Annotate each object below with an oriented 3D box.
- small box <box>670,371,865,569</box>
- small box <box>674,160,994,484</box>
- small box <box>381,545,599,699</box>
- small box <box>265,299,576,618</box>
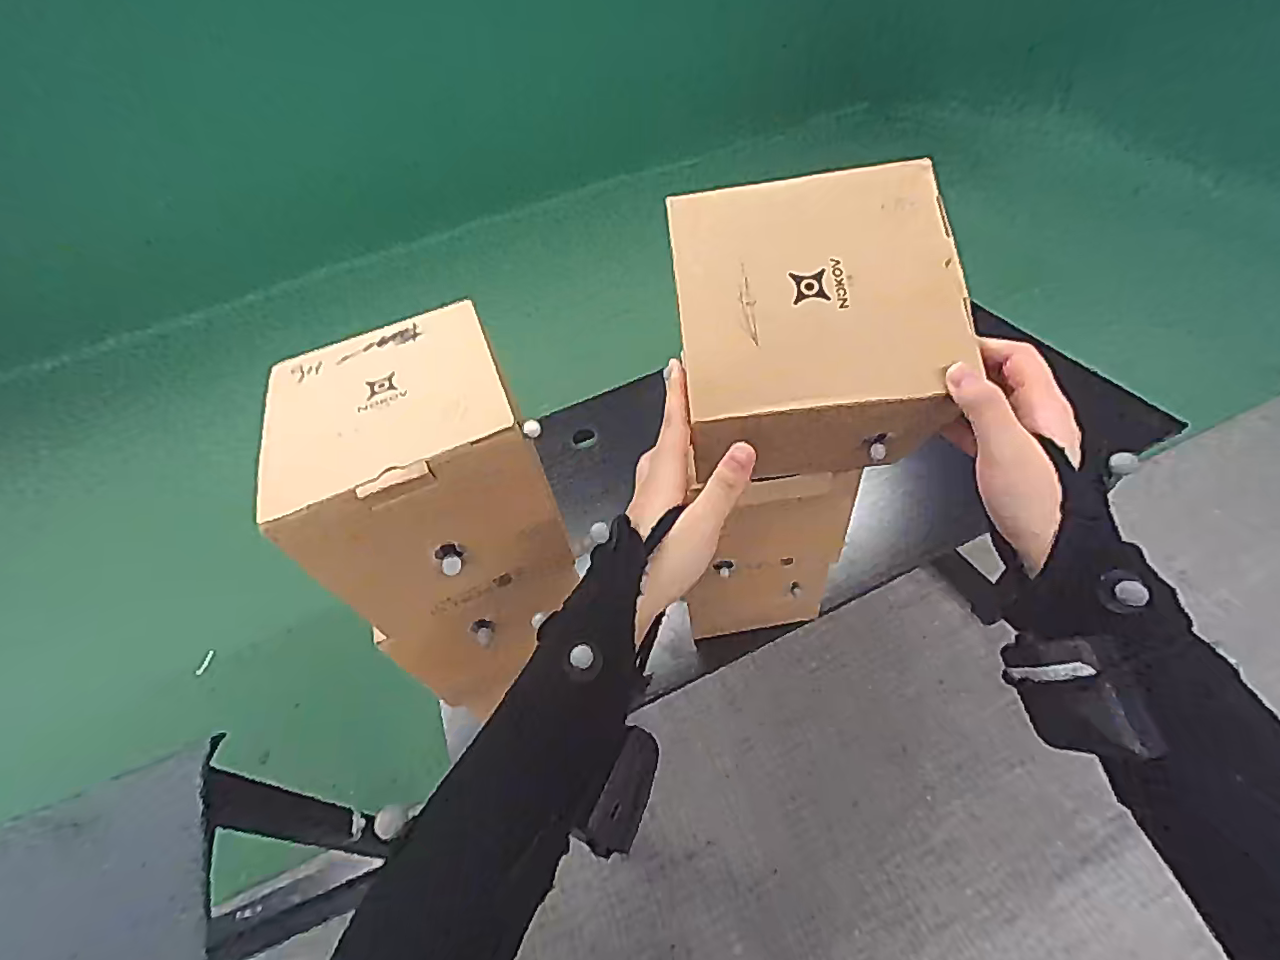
[{"bbox_3d":[0.130,-0.014,0.605,0.168,0.176,0.179,-8,49,3],"label":"small box"},{"bbox_3d":[0.124,-0.102,0.418,0.179,0.176,0.168,-7,74,6],"label":"small box"},{"bbox_3d":[-0.152,0.098,0.567,0.179,0.176,0.168,-23,51,-9],"label":"small box"},{"bbox_3d":[-0.165,-0.009,0.442,0.168,0.176,0.179,-22,51,-7],"label":"small box"}]
